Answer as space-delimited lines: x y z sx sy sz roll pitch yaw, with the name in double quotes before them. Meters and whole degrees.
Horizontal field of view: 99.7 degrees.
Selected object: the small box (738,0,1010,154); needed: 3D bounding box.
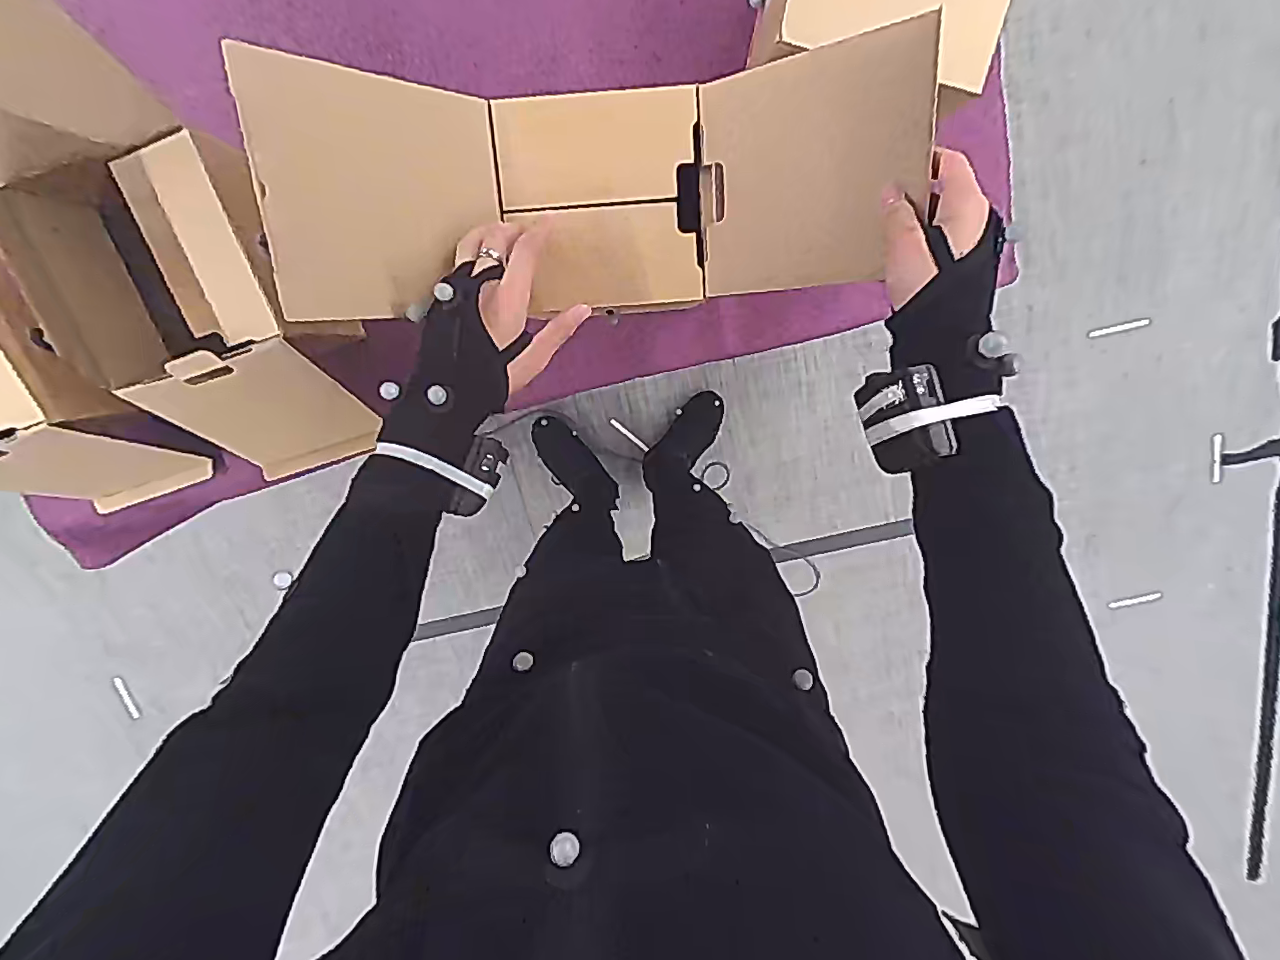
"small box" 0.205 -0.422 0.488 0.179 0.176 0.168 12 104 -4
